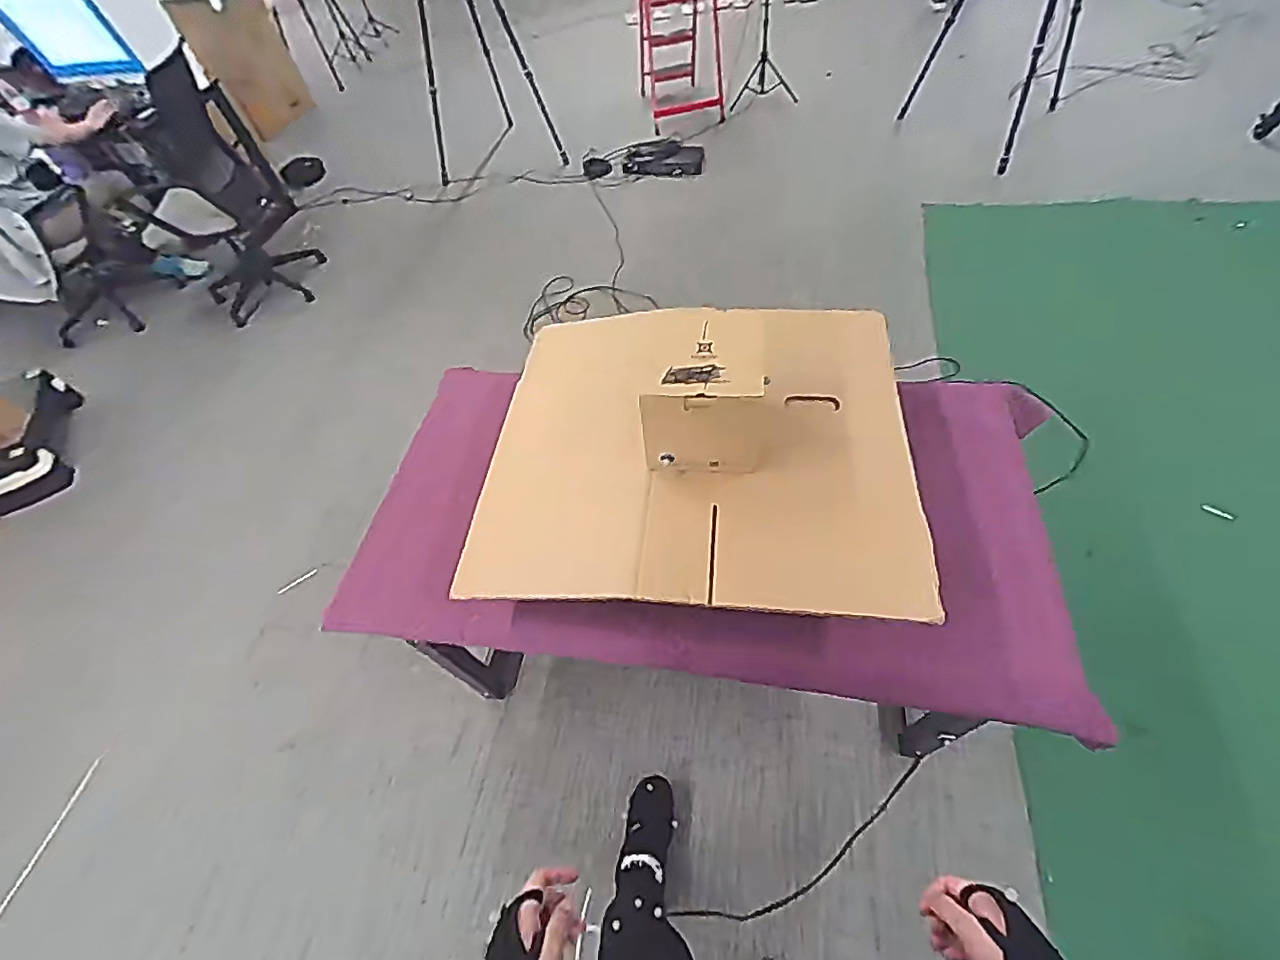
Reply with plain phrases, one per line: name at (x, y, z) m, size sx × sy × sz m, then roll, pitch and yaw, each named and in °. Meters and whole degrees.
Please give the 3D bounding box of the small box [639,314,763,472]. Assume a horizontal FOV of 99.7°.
small box at (0.096, -0.128, 0.815) m, size 0.168 × 0.176 × 0.179 m, roll 3°, pitch 54°, yaw 8°
